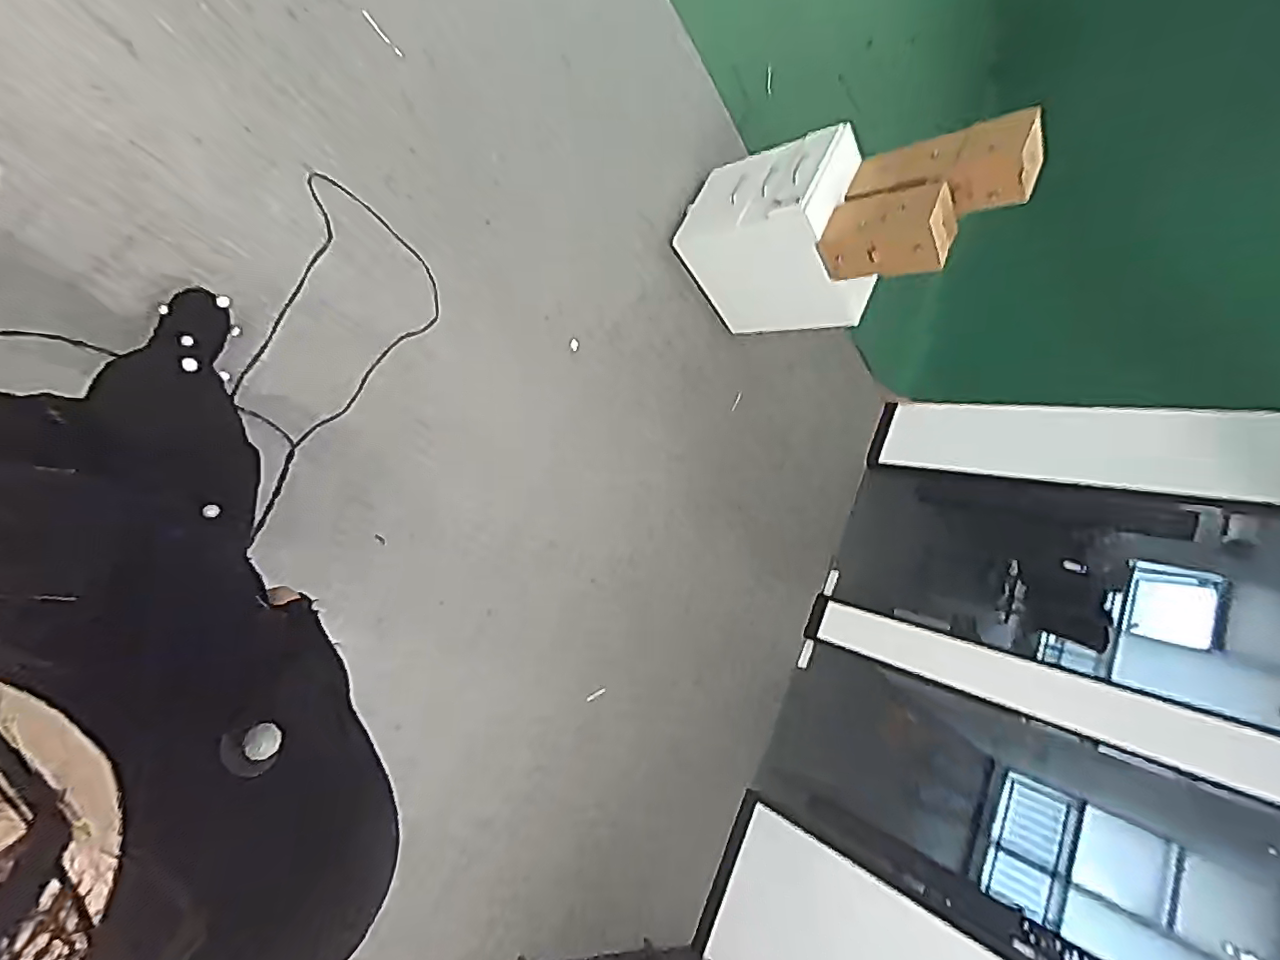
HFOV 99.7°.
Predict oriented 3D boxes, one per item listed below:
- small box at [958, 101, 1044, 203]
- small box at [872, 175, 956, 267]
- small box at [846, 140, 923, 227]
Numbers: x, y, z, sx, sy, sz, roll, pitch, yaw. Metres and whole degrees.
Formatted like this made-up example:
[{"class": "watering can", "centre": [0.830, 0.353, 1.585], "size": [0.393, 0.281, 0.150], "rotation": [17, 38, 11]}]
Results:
[{"class": "small box", "centre": [1.030, -0.928, 1.548], "size": [0.168, 0.176, 0.179], "rotation": [42, 69, -43]}, {"class": "small box", "centre": [0.809, -0.756, 1.599], "size": [0.179, 0.176, 0.168], "rotation": [43, 69, -42]}, {"class": "small box", "centre": [0.808, -0.972, 1.786], "size": [0.168, 0.176, 0.179], "rotation": [40, 72, -42]}]
